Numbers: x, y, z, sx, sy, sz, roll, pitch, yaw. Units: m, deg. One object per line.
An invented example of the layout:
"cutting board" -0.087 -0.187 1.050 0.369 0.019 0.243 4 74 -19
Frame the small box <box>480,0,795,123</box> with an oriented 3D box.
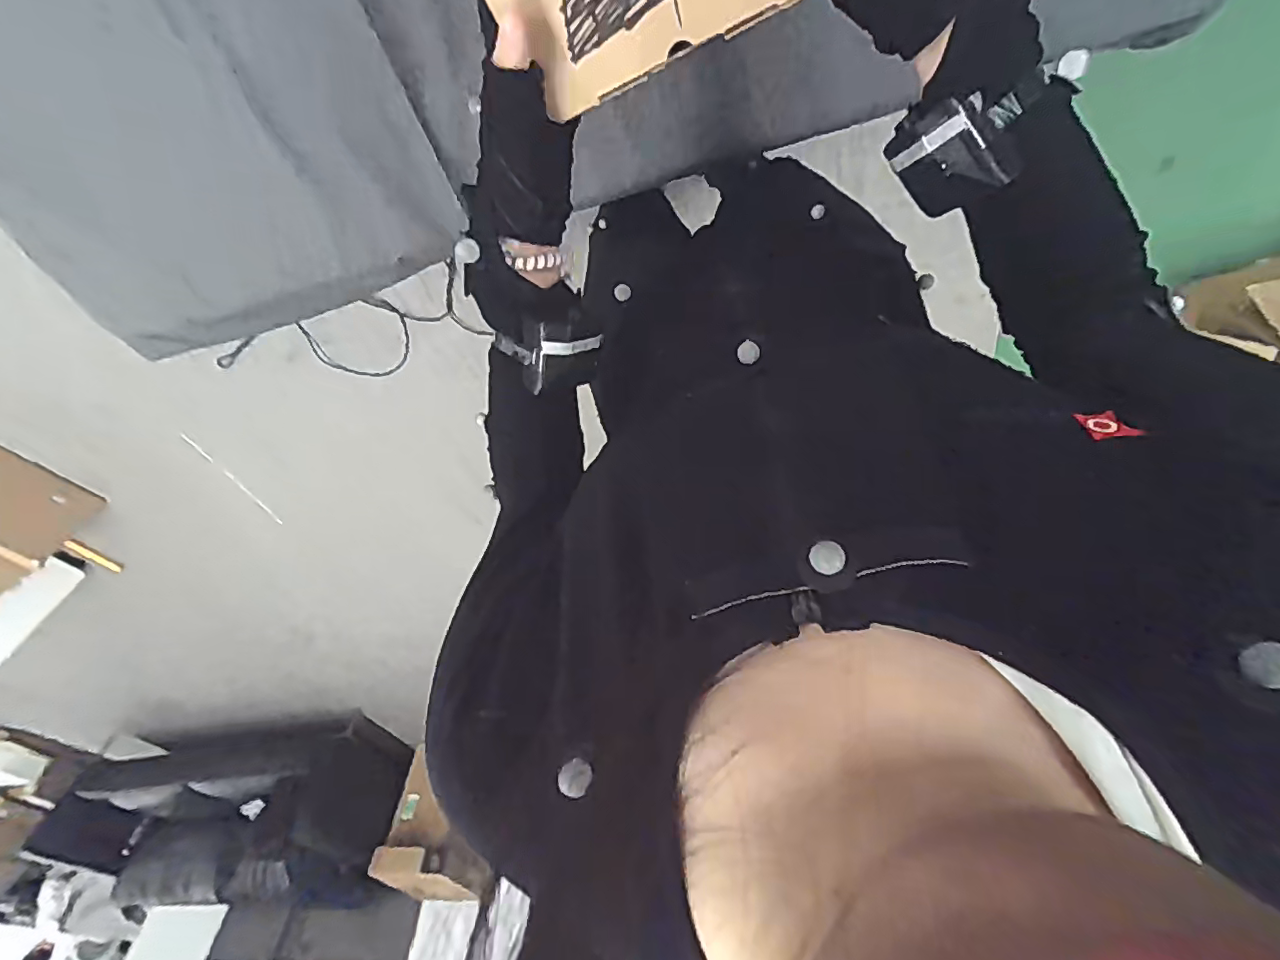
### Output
"small box" -0.012 -0.335 0.268 0.168 0.176 0.179 -13 142 22
